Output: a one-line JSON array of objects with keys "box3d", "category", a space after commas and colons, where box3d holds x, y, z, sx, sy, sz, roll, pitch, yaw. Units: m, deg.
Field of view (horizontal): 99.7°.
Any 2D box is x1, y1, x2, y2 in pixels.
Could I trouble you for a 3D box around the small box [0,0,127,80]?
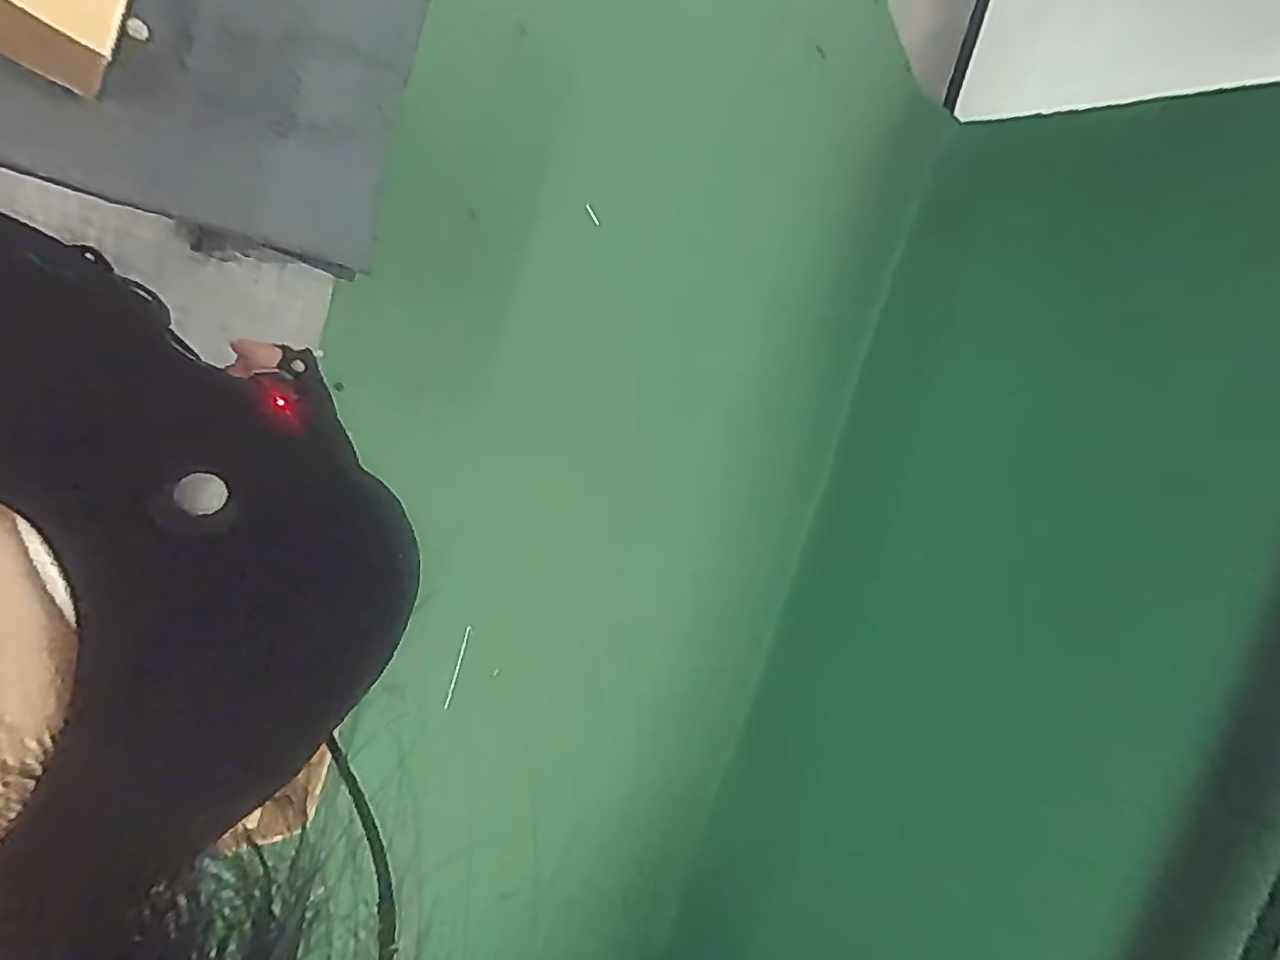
[{"box3d": [-0.465, -0.420, 0.370, 0.179, 0.176, 0.168, 17, 93, -50], "category": "small box"}]
